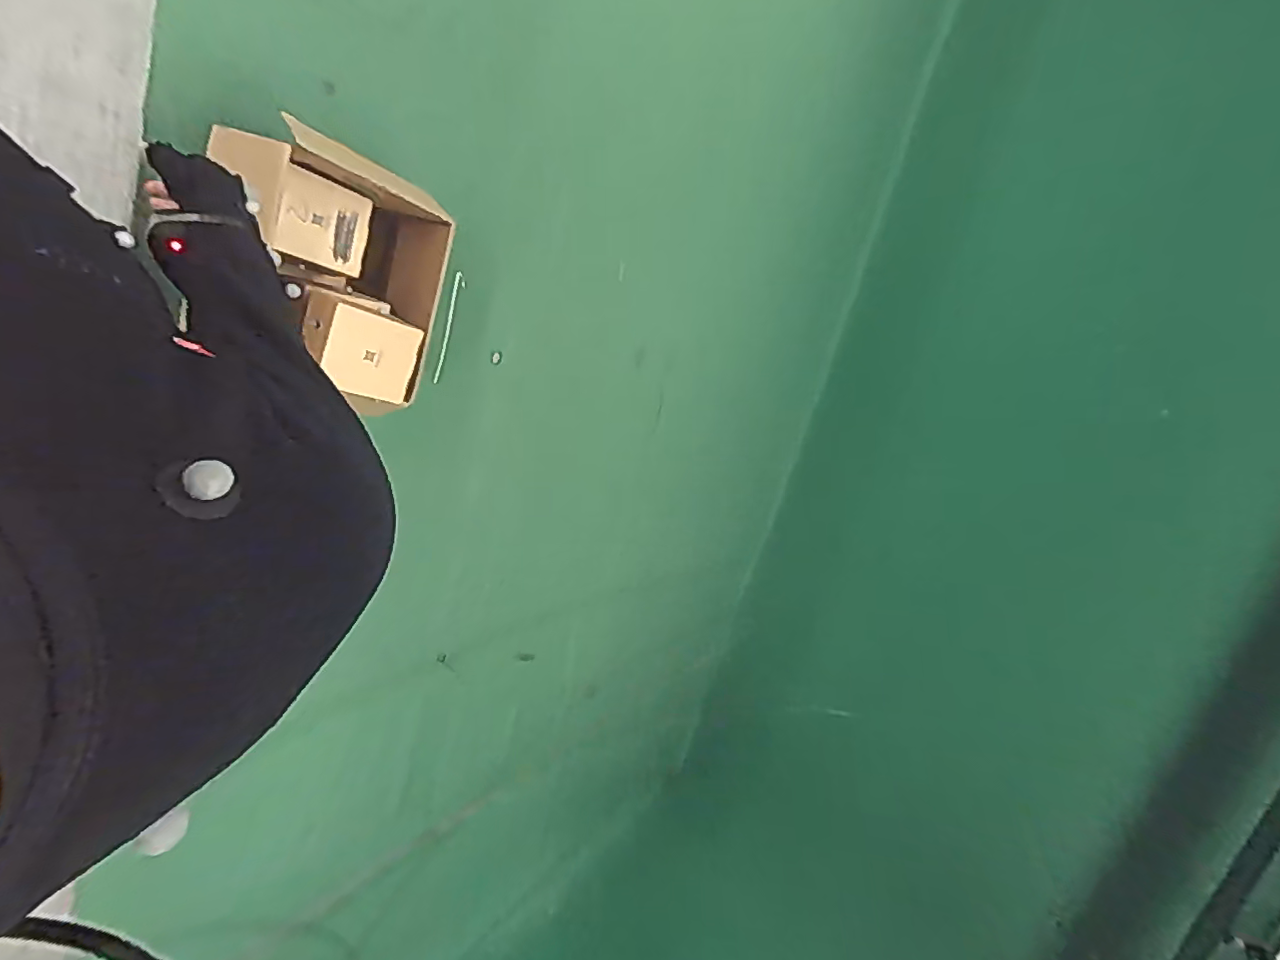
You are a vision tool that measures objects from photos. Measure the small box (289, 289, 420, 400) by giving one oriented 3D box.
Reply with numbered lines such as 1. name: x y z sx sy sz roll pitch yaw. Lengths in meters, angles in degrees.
1. small box: -0.598 -0.283 1.124 0.179 0.176 0.168 10 105 -51
